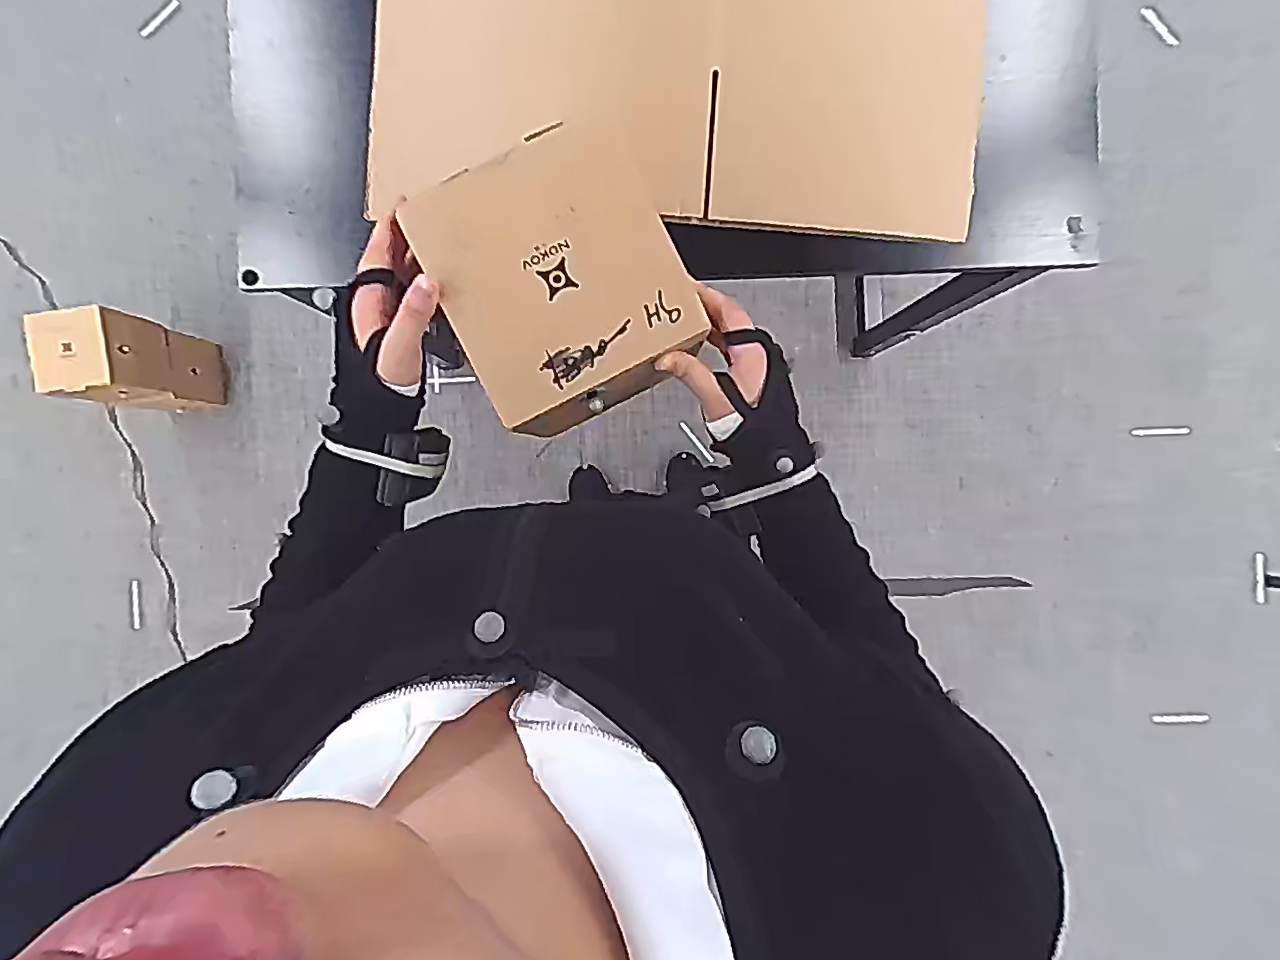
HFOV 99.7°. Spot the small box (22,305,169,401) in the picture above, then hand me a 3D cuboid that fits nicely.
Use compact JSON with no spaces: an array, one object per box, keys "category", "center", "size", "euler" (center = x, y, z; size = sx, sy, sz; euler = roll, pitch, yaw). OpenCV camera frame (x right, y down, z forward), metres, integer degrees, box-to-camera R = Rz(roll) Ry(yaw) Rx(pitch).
[{"category":"small box","center":[-1.237,-0.283,1.244],"size":[0.168,0.176,0.179],"euler":[-9,90,-1]}]

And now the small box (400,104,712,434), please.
[{"category":"small box","center":[-0.059,-0.151,0.456],"size":[0.168,0.176,0.179],"euler":[-27,92,1]}]

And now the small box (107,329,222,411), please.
[{"category":"small box","center":[-1.235,-0.281,1.406],"size":[0.168,0.176,0.179],"euler":[-5,92,0]}]
